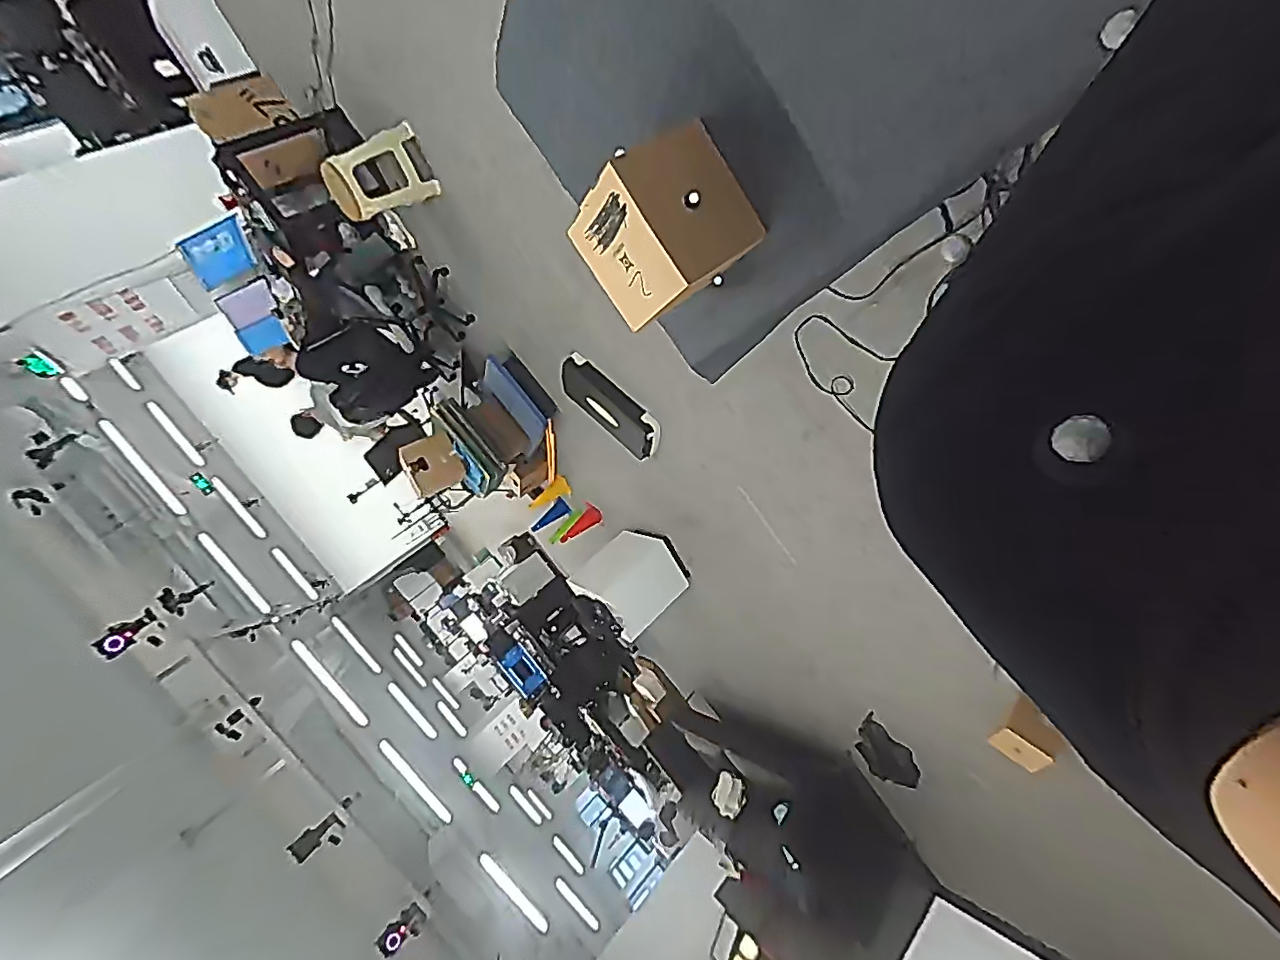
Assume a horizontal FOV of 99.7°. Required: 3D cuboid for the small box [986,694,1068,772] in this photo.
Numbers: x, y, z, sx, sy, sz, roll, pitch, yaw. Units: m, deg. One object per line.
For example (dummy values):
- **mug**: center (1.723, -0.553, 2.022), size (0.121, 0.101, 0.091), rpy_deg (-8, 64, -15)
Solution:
- **small box**: center (1.416, 0.923, 1.976), size (0.168, 0.176, 0.179), rpy_deg (34, 150, 31)
